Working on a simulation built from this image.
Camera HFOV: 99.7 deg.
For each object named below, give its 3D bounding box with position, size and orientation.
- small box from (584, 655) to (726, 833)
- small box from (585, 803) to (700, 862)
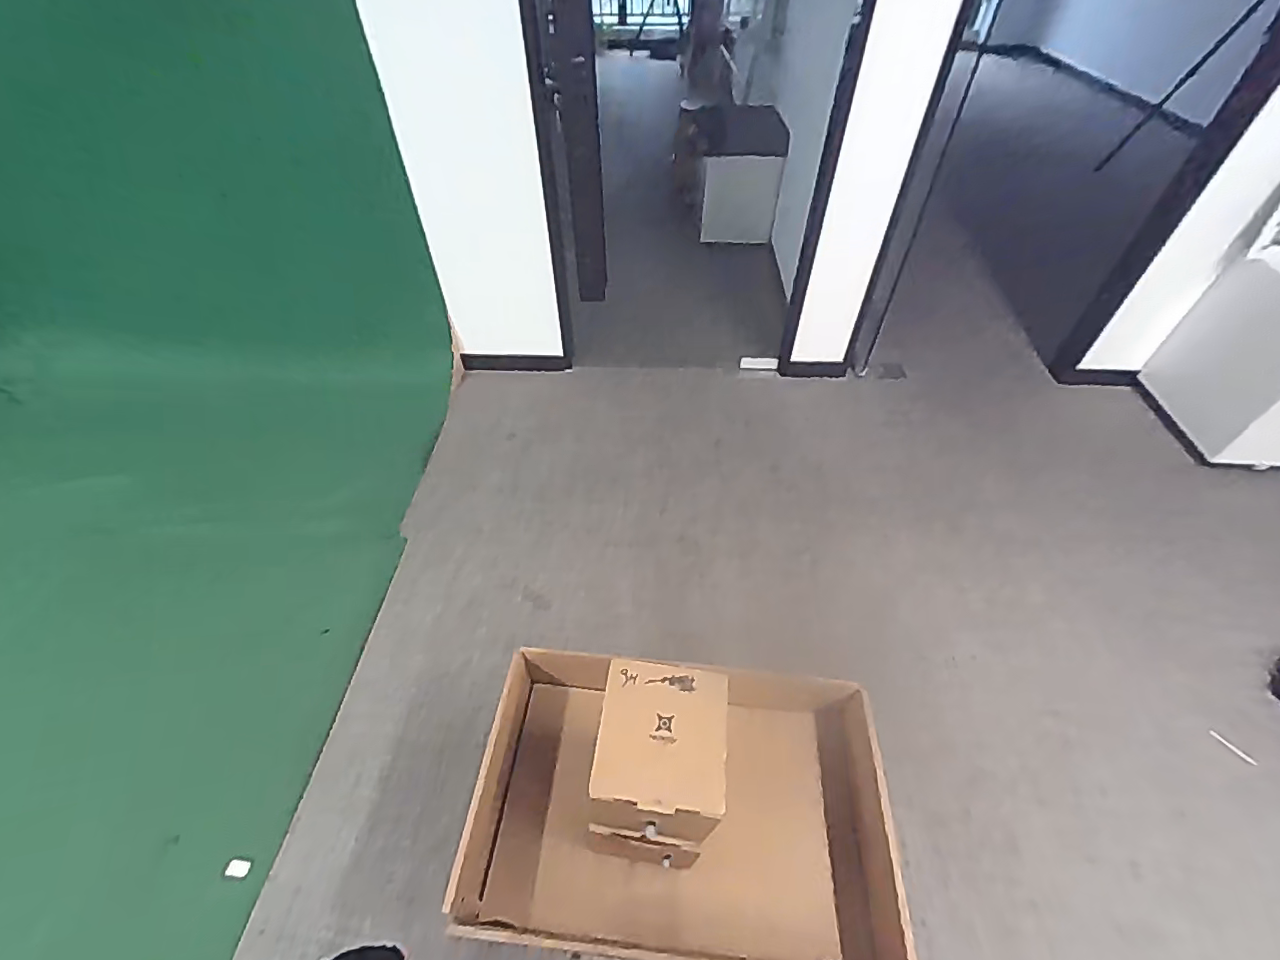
[{"bbox_3d":[0.022,0.371,0.753,0.168,0.176,0.179,8,49,3],"label":"small box"},{"bbox_3d":[0.011,0.489,0.867,0.168,0.176,0.179,8,46,3],"label":"small box"}]
